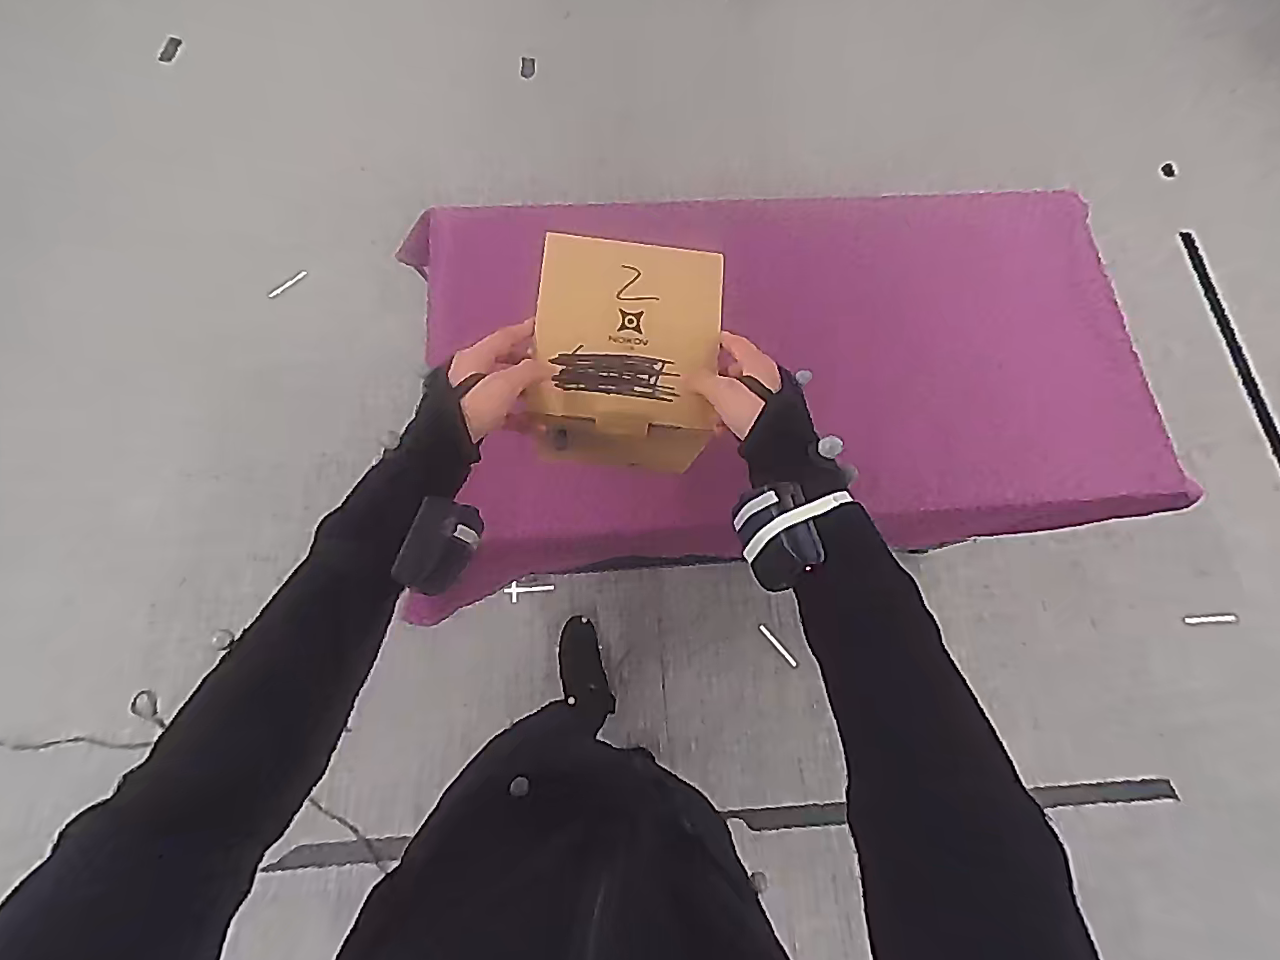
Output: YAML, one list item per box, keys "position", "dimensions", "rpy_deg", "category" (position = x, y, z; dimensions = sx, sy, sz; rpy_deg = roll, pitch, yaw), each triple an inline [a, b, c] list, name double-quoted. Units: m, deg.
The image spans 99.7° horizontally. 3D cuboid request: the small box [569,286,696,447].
- position: [-0.018, -0.161, 0.798]
  dimensions: [0.168, 0.176, 0.179]
  rpy_deg: [-3, 74, -4]
  category: "small box"
